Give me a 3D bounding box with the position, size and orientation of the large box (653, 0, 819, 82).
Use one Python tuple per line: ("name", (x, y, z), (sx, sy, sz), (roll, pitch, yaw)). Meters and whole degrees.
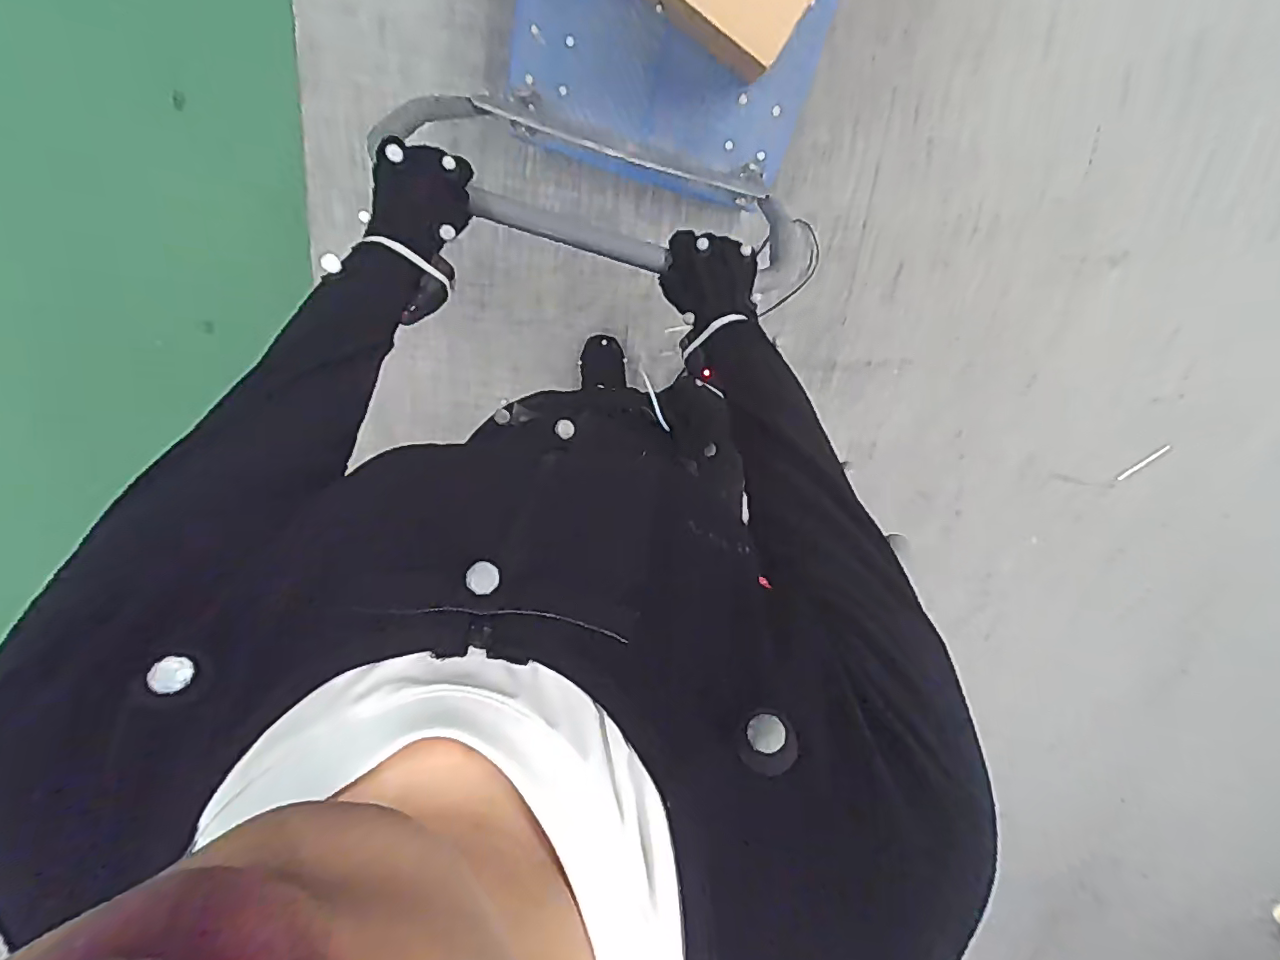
("large box", (0.129, -0.882, 0.807), (0.408, 0.320, 0.320), (31, 121, -12))
